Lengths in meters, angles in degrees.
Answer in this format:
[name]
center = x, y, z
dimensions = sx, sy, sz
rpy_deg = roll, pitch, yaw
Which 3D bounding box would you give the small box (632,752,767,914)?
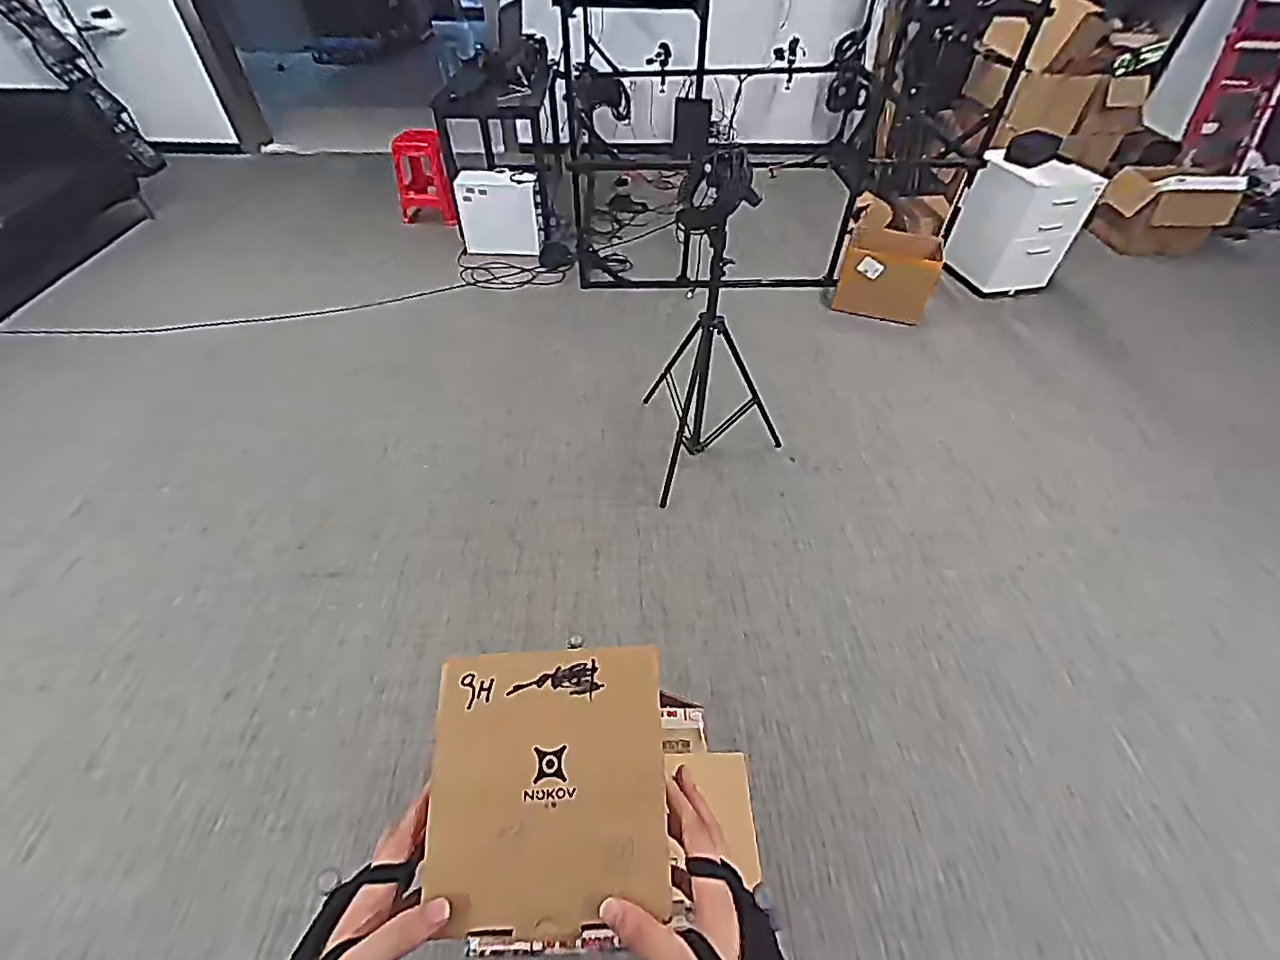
[small box]
center = 0.075, 0.521, 0.799
dimensions = 0.168, 0.176, 0.179
rpy_deg = 0, 49, -3
